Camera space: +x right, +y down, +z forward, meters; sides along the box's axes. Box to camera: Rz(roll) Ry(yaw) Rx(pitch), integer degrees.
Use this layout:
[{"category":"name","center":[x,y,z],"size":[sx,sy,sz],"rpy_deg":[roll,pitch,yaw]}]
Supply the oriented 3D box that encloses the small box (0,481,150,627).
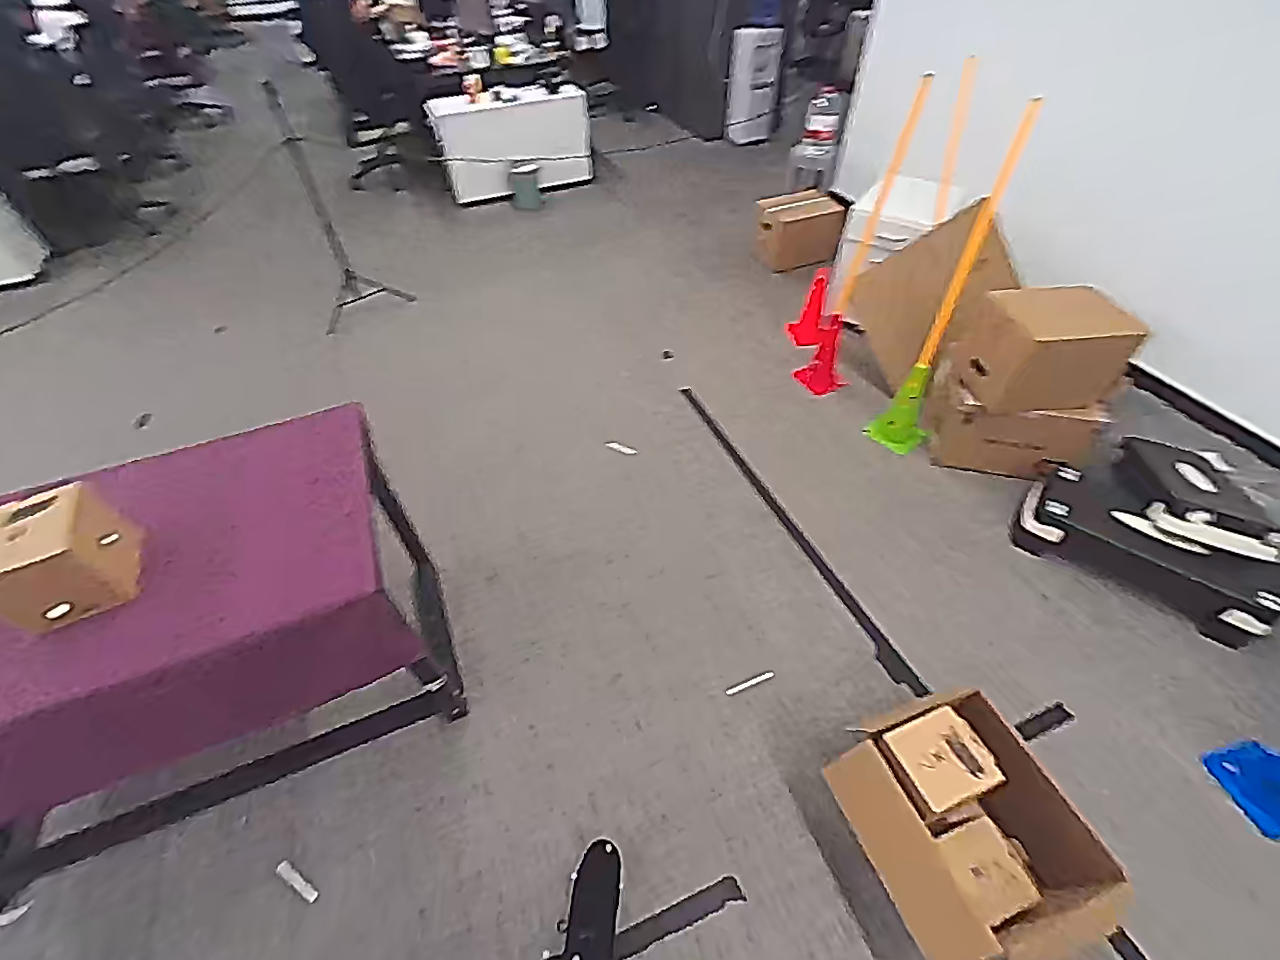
[{"category":"small box","center":[-1.060,0.138,1.002],"size":[0.168,0.176,0.179],"rpy_deg":[-22,52,-17]}]
